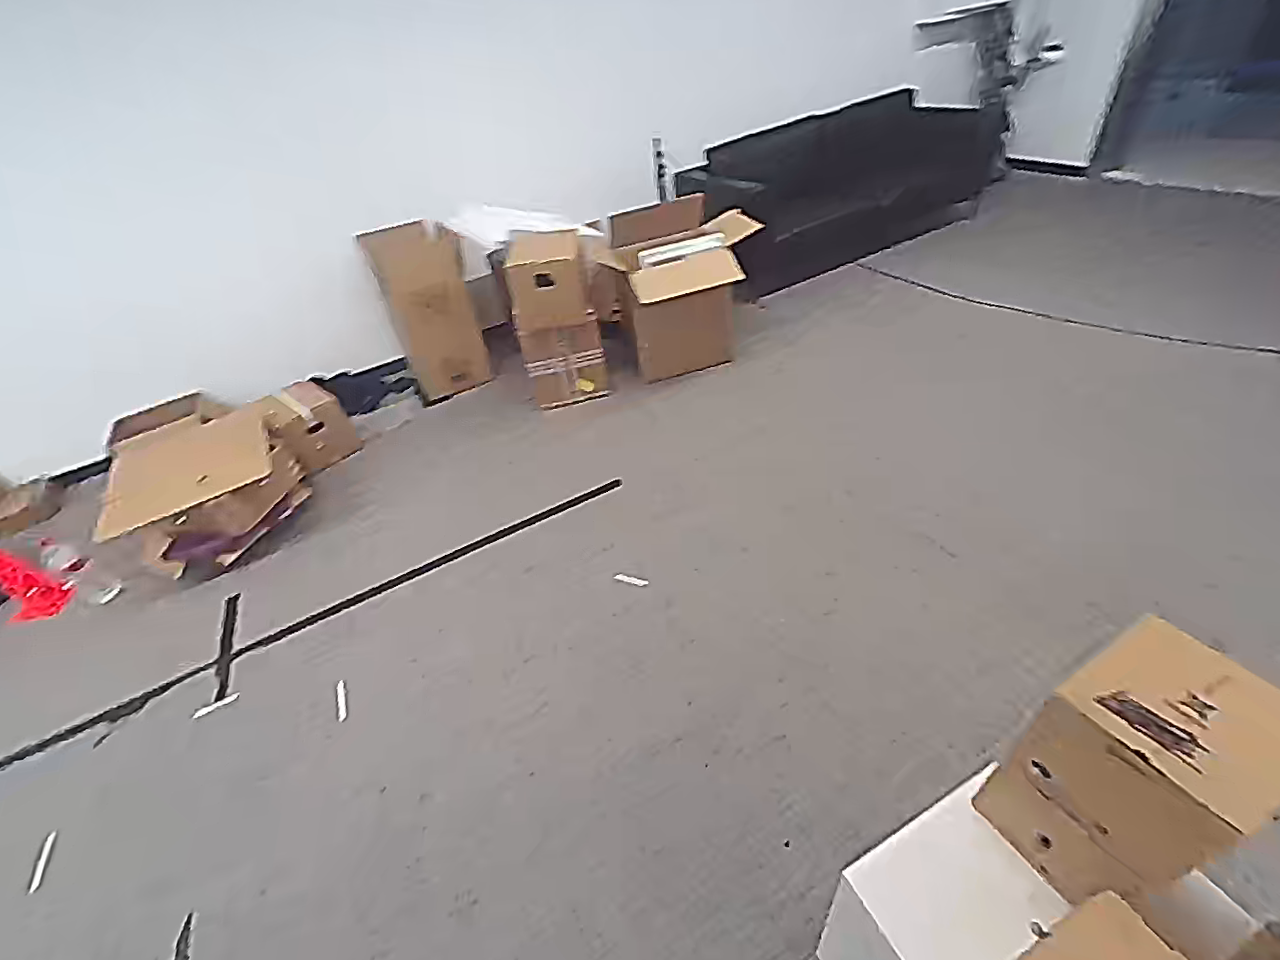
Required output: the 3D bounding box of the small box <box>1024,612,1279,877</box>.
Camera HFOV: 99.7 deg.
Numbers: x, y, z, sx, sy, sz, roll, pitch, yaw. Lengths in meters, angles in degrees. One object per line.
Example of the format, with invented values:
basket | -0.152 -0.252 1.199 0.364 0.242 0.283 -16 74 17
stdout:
small box | 0.566 0.289 0.595 0.179 0.176 0.168 -25 43 -17
